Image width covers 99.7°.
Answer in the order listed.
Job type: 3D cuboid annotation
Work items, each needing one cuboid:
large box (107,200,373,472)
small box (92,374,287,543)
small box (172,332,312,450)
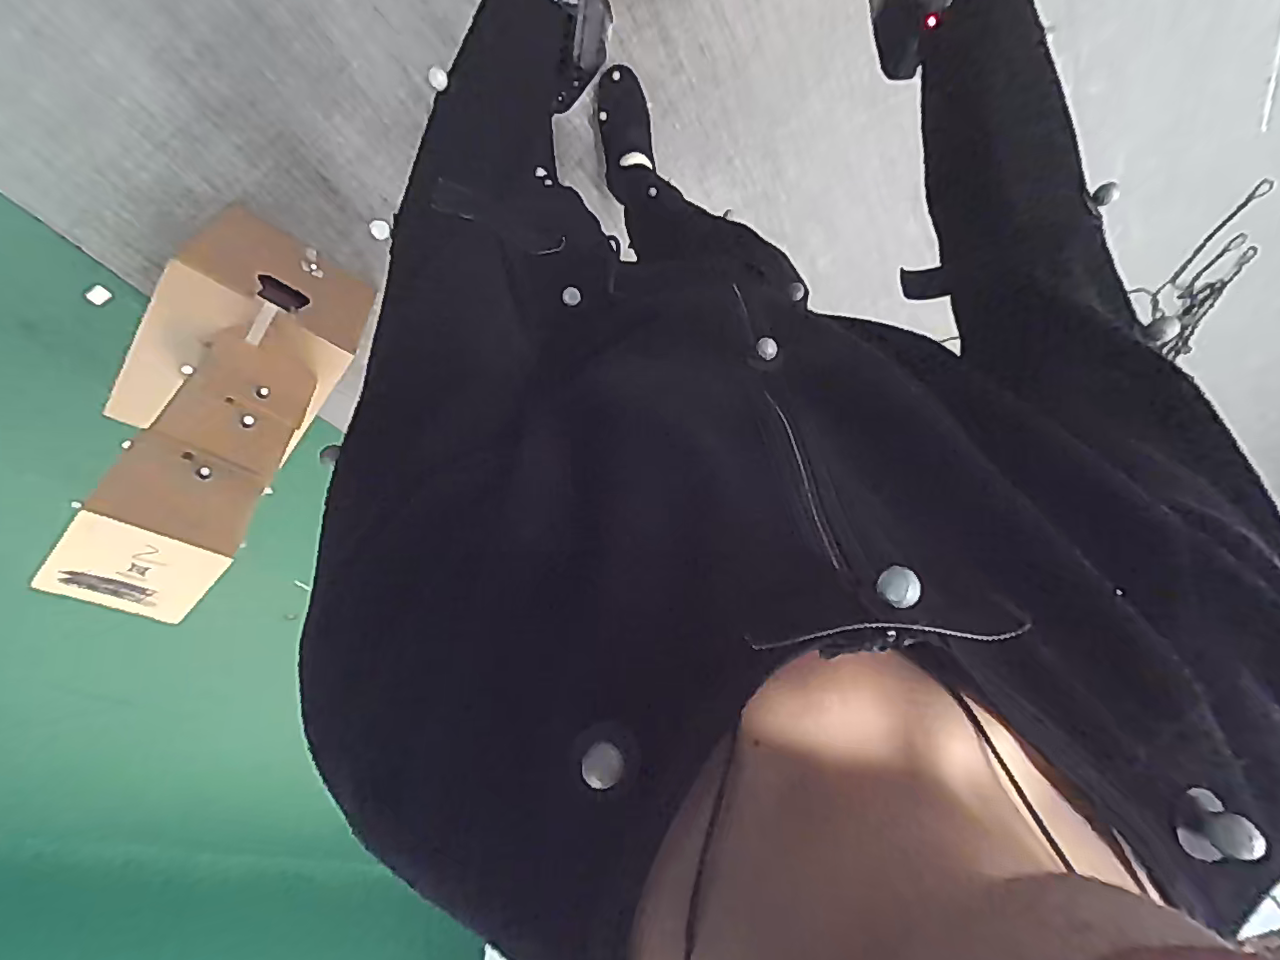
[{"bbox_3d":[-0.836,-0.300,1.169,0.320,0.320,0.408,30,120,-34],"label":"large box"},{"bbox_3d":[-0.716,-0.035,0.881,0.179,0.176,0.168,-38,131,18],"label":"small box"},{"bbox_3d":[-0.747,-0.138,1.002,0.168,0.176,0.179,-38,131,19],"label":"small box"}]
